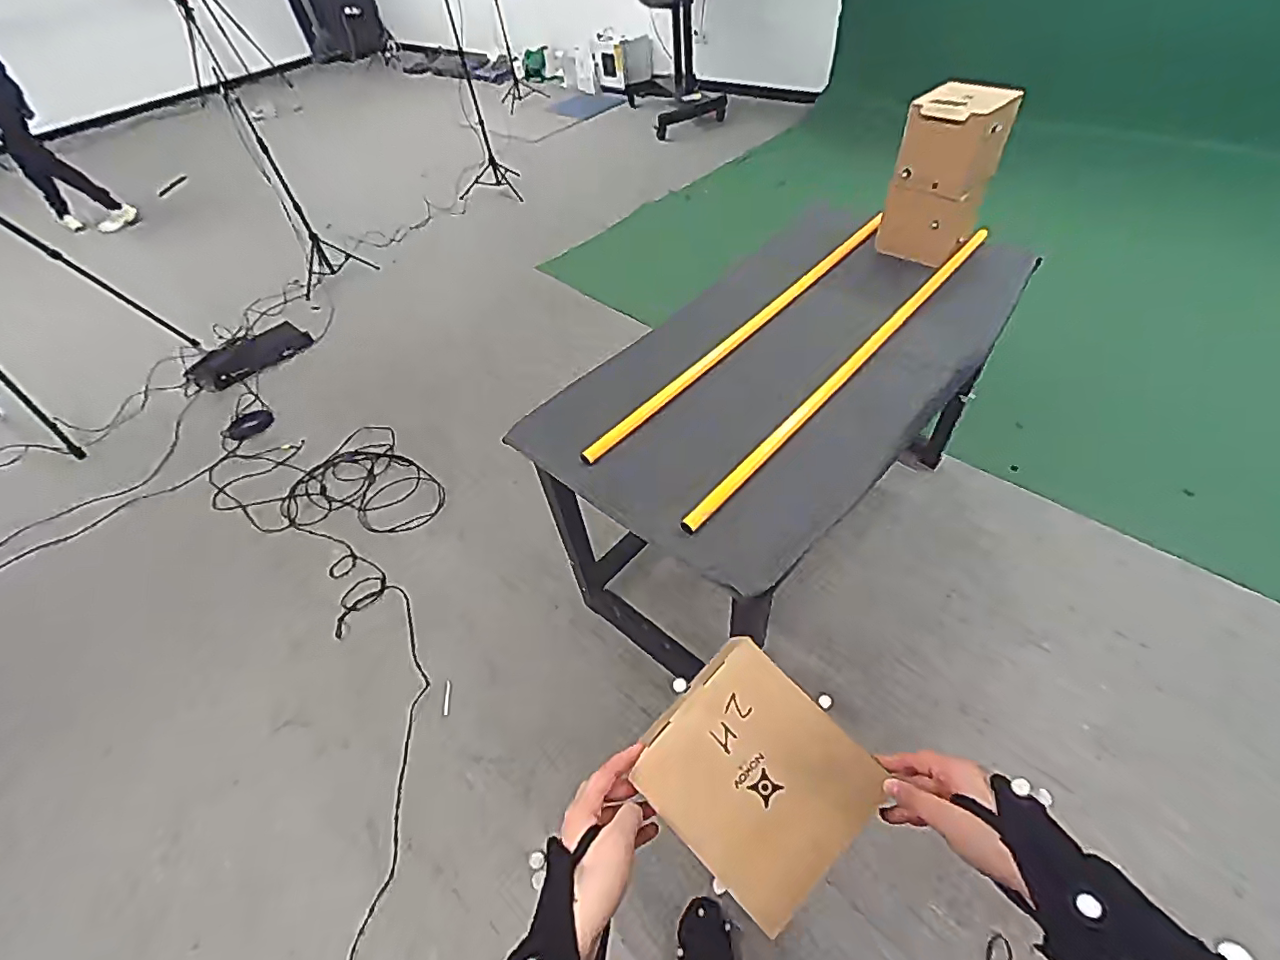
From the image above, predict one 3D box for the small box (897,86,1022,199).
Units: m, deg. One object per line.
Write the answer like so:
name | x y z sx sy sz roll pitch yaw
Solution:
small box | 0.715 -0.768 1.233 0.179 0.176 0.168 -37 56 -23
